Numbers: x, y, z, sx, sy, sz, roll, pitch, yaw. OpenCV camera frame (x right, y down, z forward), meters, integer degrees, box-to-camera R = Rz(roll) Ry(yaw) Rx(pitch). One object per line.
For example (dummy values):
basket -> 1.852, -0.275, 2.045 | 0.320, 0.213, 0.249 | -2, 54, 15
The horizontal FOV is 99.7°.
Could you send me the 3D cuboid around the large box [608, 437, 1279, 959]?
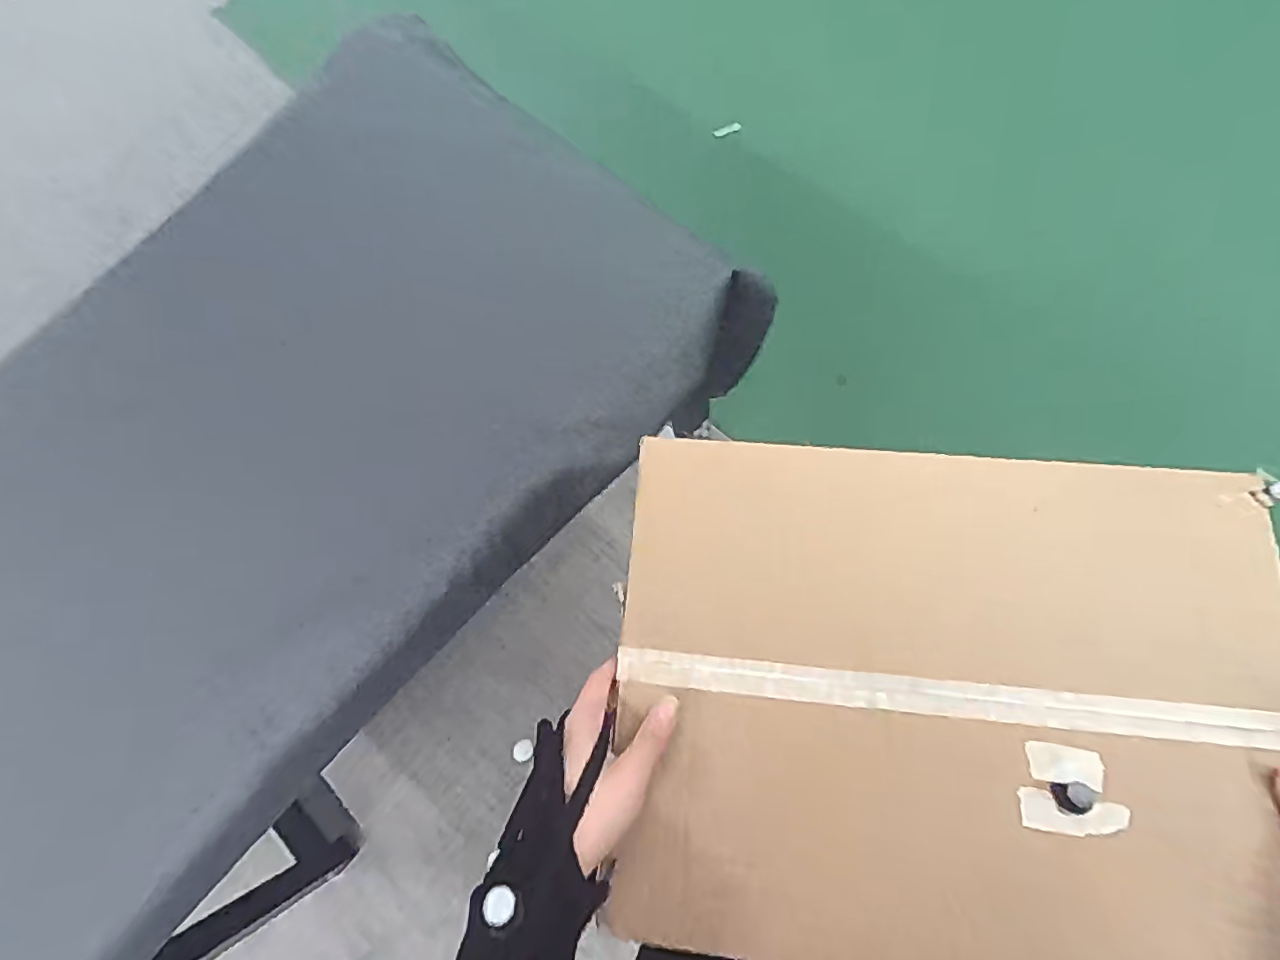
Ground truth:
large box -> 0.195, 0.162, 0.486 | 0.408, 0.320, 0.320 | 3, 76, 5
